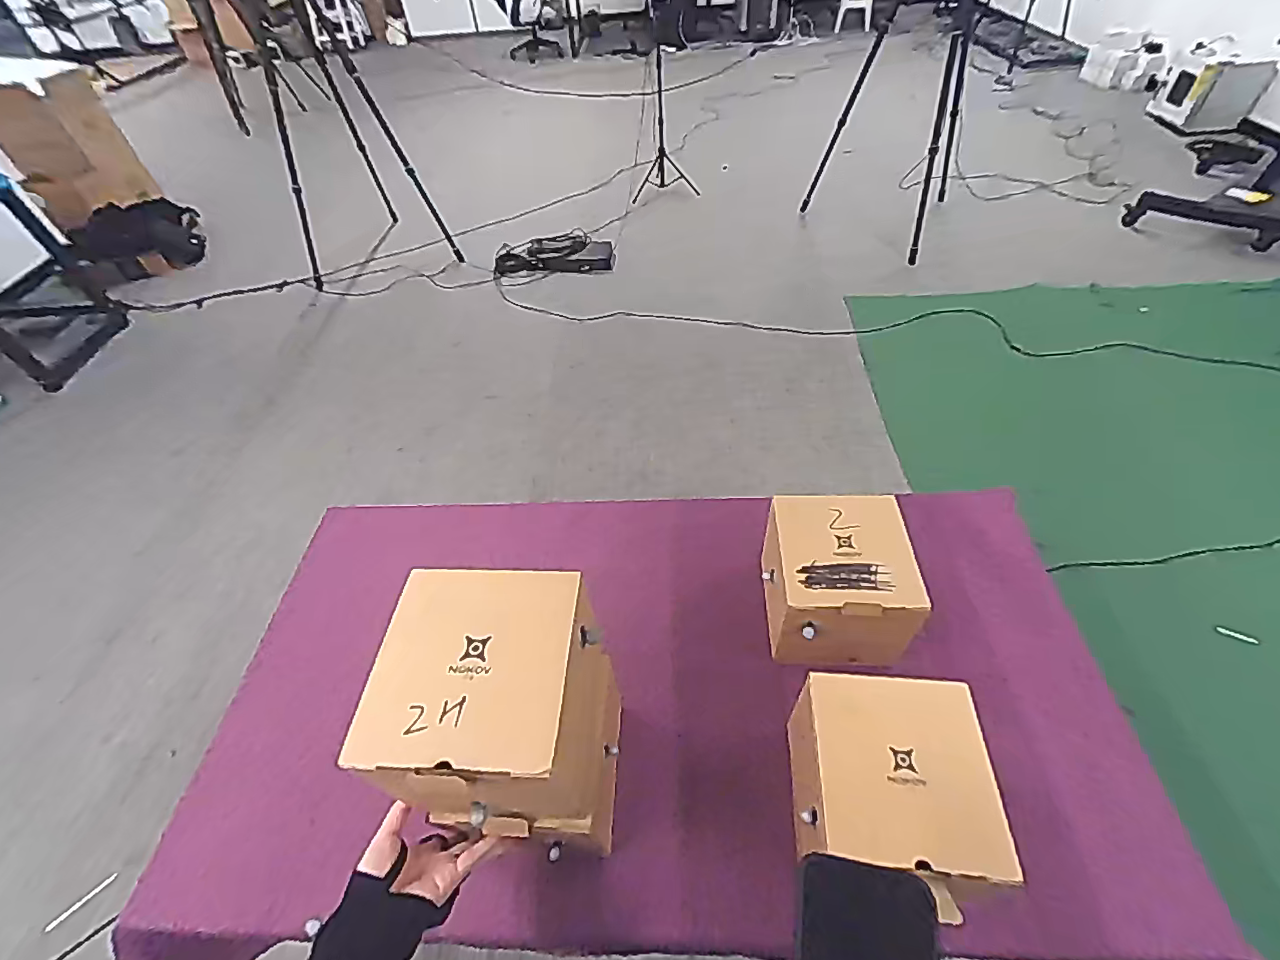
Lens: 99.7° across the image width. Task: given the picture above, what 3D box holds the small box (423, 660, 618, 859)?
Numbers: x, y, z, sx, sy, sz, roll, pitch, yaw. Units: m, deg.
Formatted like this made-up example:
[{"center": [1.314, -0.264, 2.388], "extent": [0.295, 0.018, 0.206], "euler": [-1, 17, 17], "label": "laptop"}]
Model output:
[{"center": [-0.119, 0.324, 0.629], "extent": [0.168, 0.176, 0.179], "euler": [1, 48, 5], "label": "small box"}]

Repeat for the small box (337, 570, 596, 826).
[{"center": [-0.139, 0.206, 0.514], "extent": [0.168, 0.176, 0.179], "euler": [1, 48, 5], "label": "small box"}]

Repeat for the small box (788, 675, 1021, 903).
[{"center": [0.259, 0.334, 0.584], "extent": [0.168, 0.176, 0.179], "euler": [2, 50, 7], "label": "small box"}]
